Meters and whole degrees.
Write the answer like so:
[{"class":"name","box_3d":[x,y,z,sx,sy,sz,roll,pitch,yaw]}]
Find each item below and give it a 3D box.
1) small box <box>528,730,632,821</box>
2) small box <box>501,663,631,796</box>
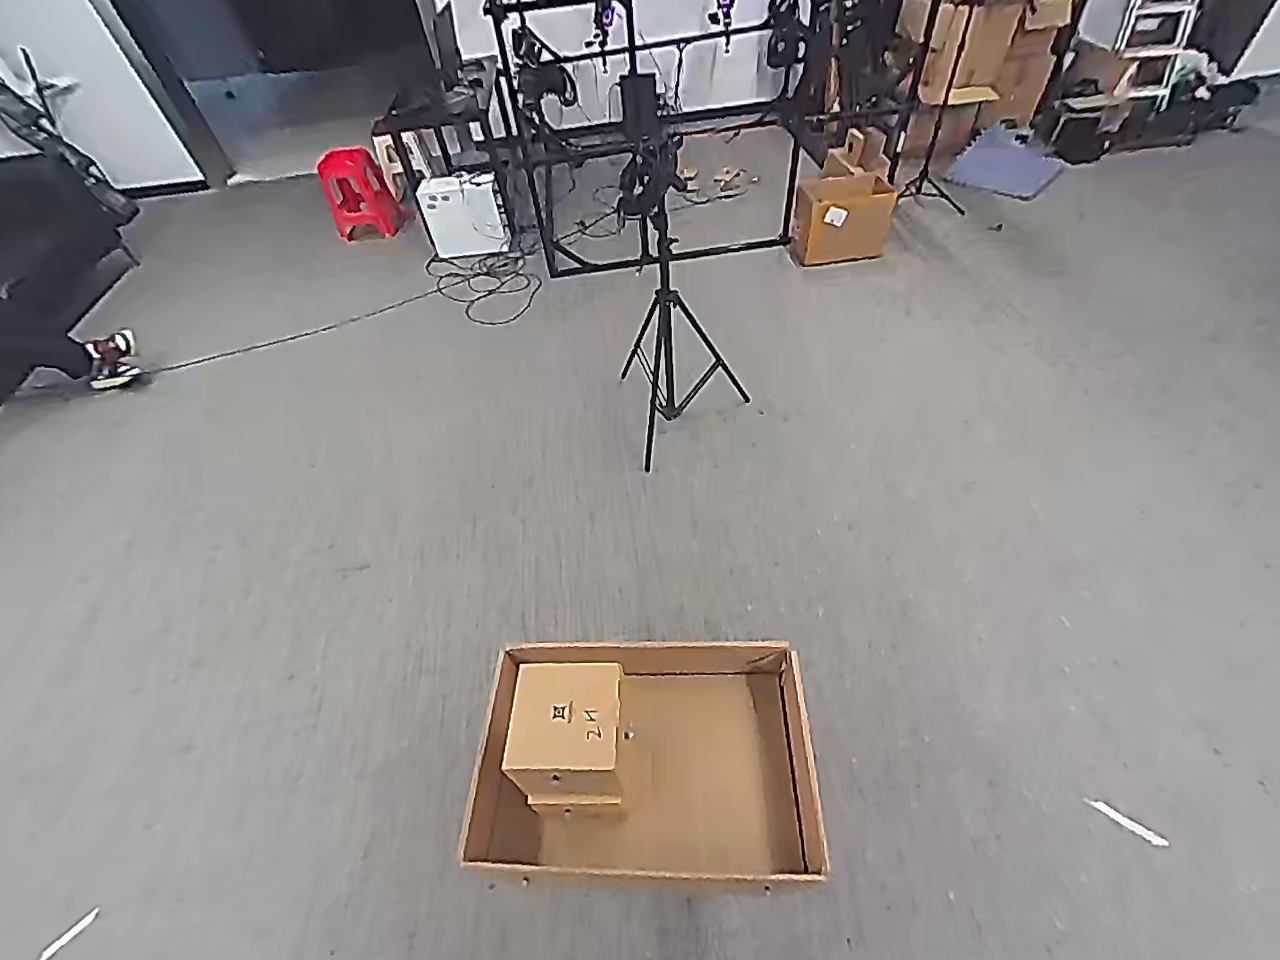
[{"class":"small box","box_3d":[-0.104,0.537,1.031,0.168,0.176,0.179,-2,48,3]},{"class":"small box","box_3d":[-0.113,0.422,0.913,0.179,0.176,0.168,-1,48,4]}]
